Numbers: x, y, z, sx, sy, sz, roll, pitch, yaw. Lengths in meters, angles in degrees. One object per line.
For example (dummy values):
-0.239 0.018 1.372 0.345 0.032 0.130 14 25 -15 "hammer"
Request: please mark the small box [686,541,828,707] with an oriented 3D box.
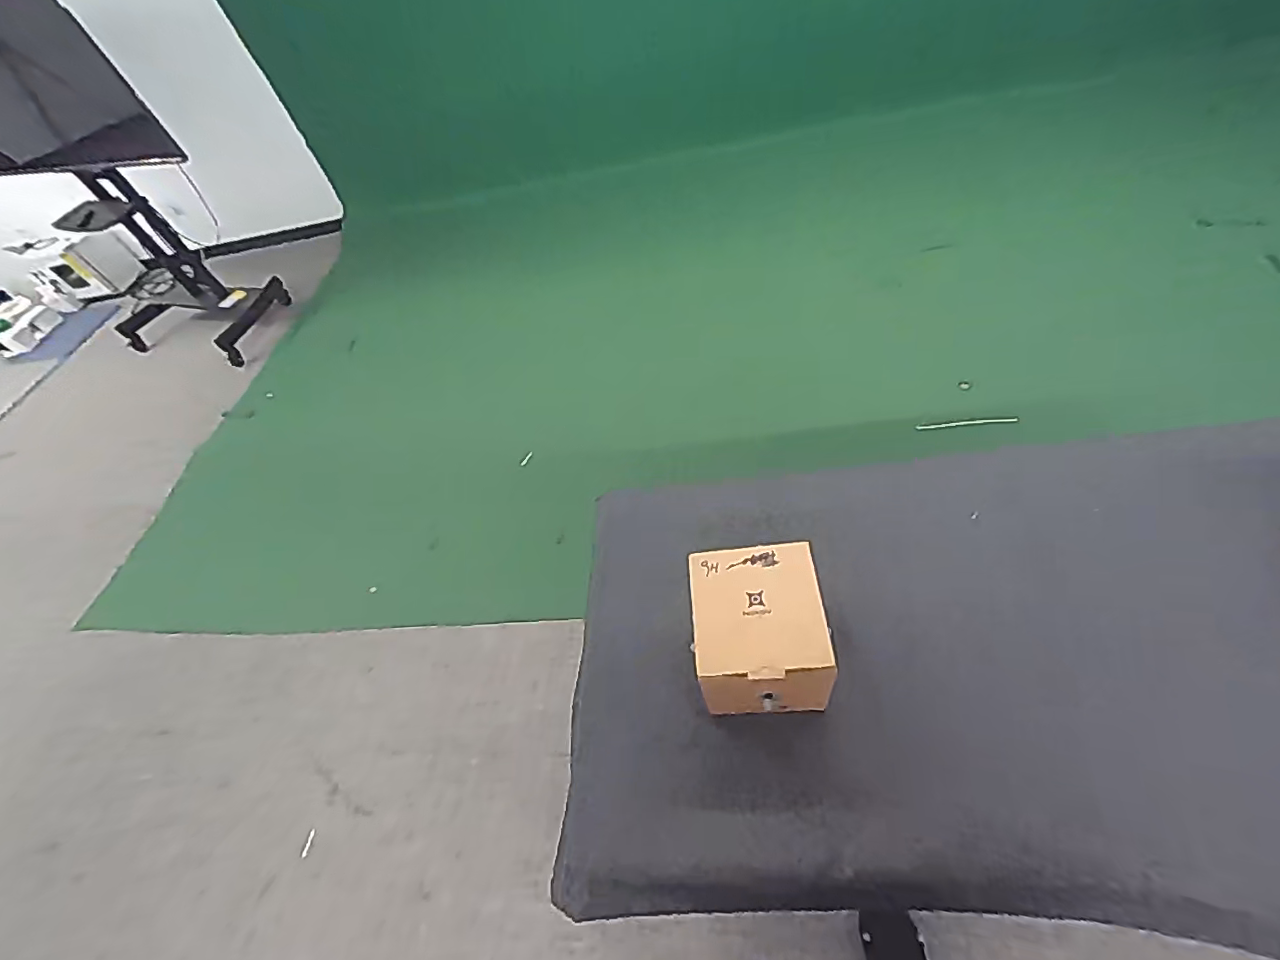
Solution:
0.159 0.209 0.756 0.168 0.176 0.179 -7 51 8 "small box"
